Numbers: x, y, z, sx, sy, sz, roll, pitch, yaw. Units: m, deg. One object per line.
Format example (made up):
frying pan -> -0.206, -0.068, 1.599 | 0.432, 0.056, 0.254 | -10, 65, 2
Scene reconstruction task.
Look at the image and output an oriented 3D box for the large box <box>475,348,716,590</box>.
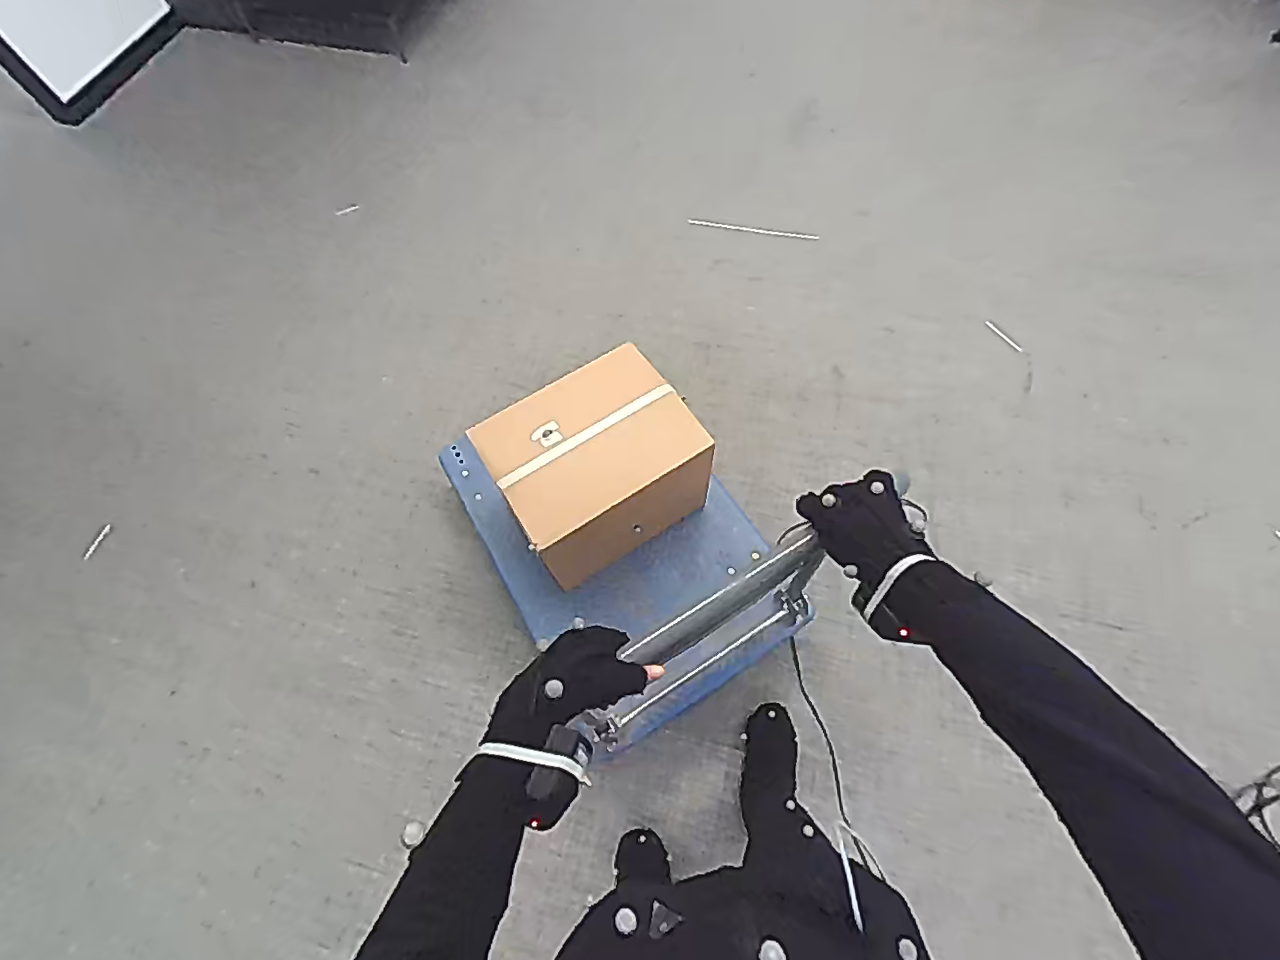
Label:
large box -> -0.085, -0.014, 1.223 | 0.408, 0.320, 0.320 | -33, 67, -11
